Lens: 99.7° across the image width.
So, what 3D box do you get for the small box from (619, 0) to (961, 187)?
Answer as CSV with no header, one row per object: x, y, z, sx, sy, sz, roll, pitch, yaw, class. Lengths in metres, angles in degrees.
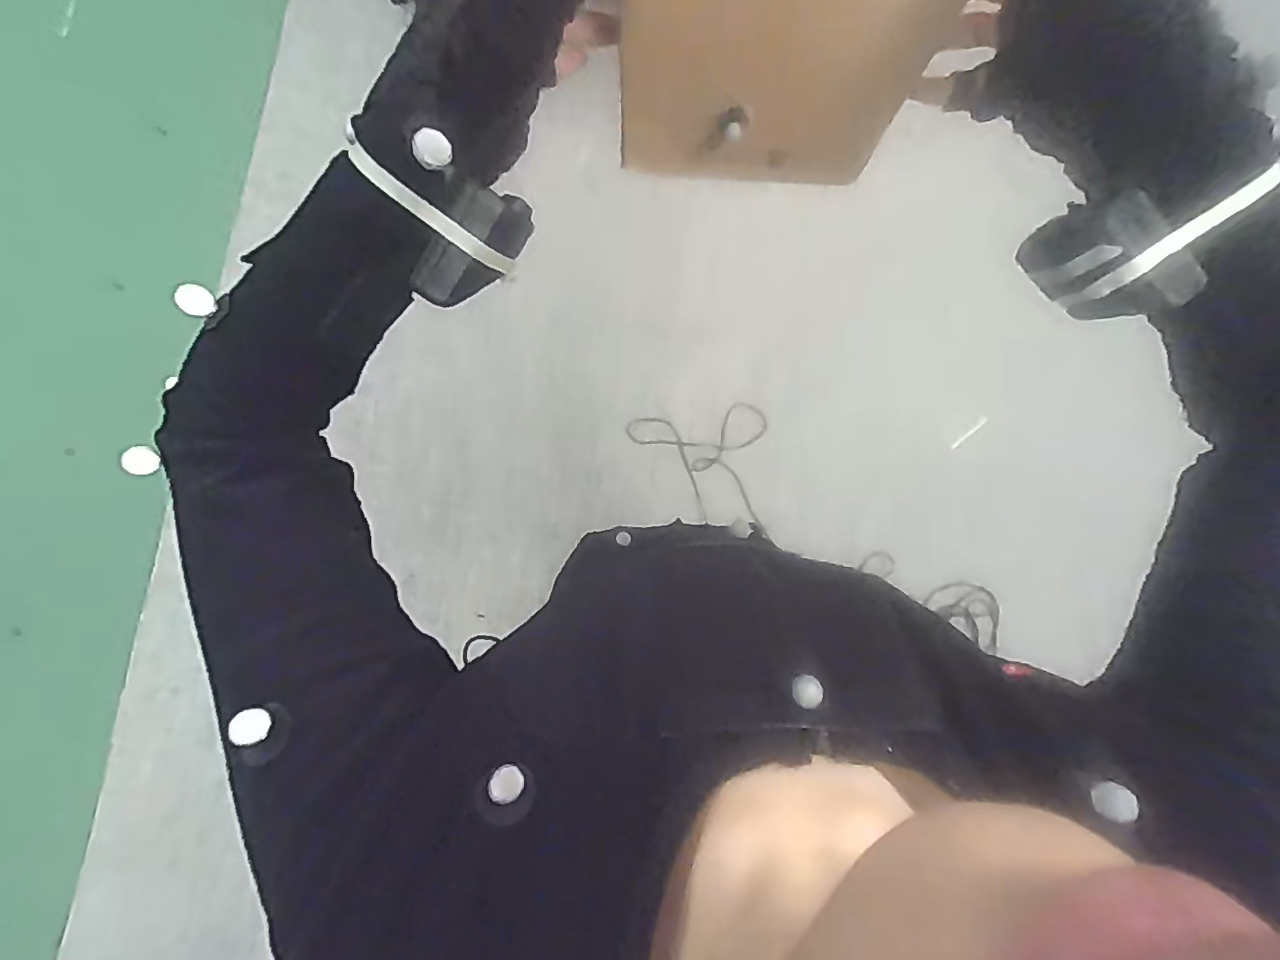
0.074,-0.309,0.316,0.168,0.176,0.179,2,85,0,small box
